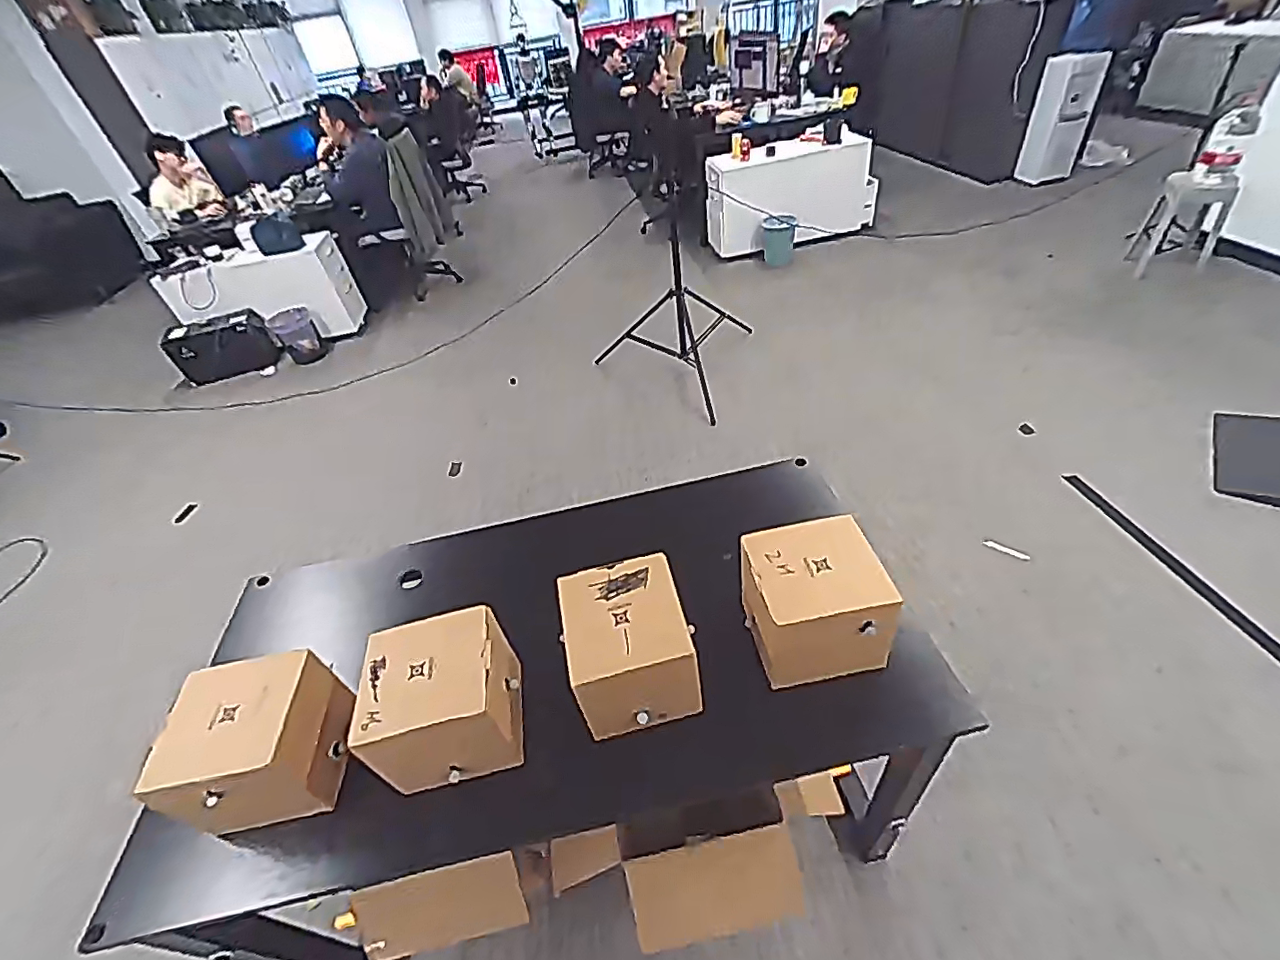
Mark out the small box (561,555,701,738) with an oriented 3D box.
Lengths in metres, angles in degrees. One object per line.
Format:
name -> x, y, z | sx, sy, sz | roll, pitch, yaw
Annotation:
small box -> -0.013, 0.243, 0.795 | 0.168, 0.176, 0.179 | -14, 42, -4

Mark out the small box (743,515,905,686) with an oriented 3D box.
small box -> 0.259, 0.180, 0.807 | 0.179, 0.176, 0.168 | -12, 40, 0

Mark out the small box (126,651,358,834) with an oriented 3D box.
small box -> -0.532, 0.370, 0.759 | 0.179, 0.176, 0.168 | -11, 42, -2

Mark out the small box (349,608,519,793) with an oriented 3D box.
small box -> -0.274, 0.314, 0.770 | 0.179, 0.176, 0.168 | -13, 41, -5
